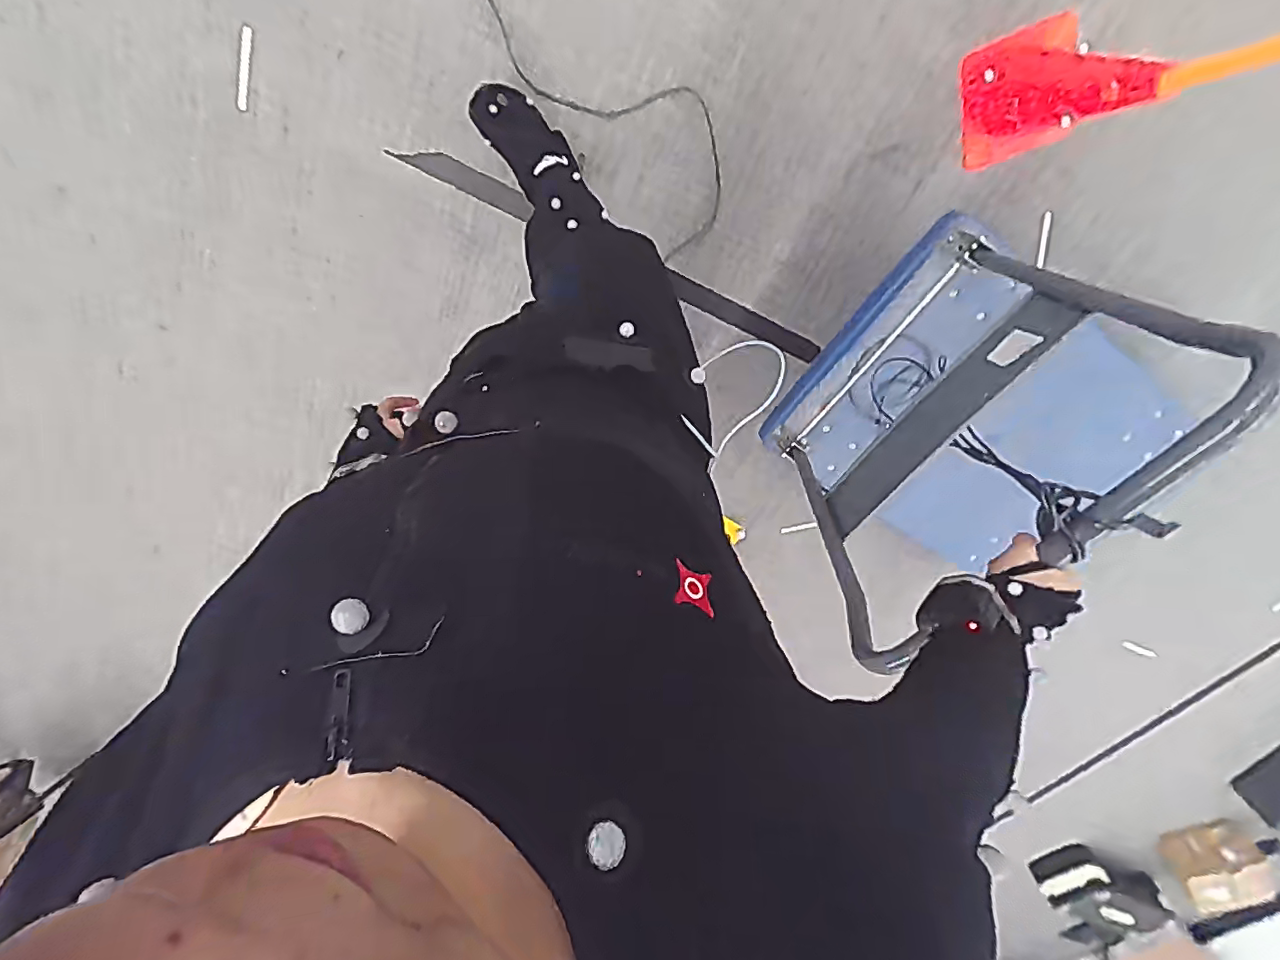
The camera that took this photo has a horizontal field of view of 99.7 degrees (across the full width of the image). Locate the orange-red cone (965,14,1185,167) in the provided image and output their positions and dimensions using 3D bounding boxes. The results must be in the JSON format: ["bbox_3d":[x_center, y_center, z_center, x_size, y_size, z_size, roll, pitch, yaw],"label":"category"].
[{"bbox_3d":[0.714,-0.627,0.870,0.198,0.360,0.199,-16,123,11],"label":"orange-red cone"}]
